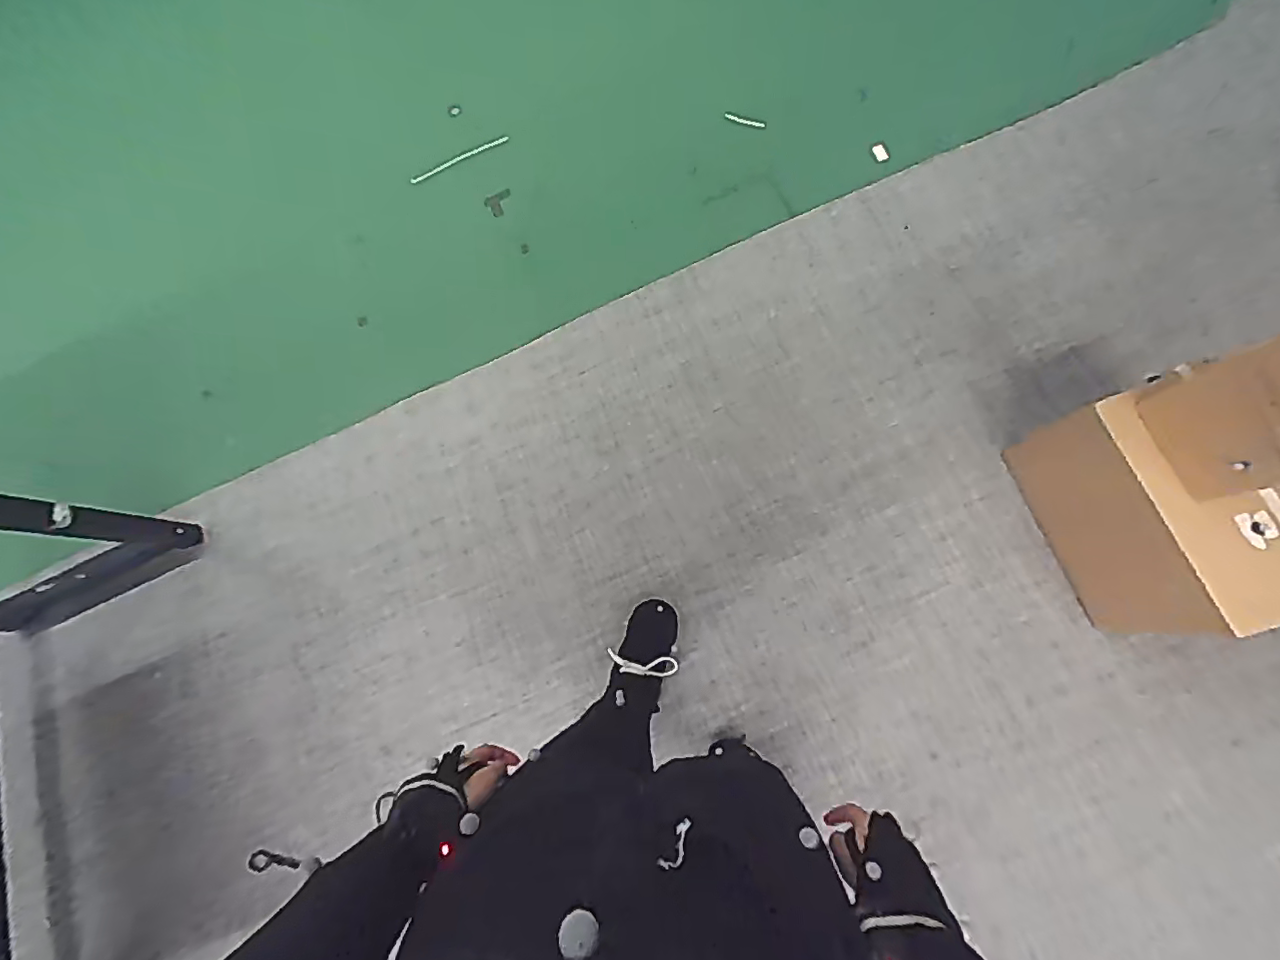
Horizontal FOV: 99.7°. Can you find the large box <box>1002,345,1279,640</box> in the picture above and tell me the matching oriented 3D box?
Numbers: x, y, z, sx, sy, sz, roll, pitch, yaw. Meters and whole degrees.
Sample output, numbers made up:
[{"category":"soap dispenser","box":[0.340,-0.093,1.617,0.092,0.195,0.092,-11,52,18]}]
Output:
[{"category":"large box","box":[0.979,0.038,0.991,0.320,0.320,0.408,-21,76,4]}]

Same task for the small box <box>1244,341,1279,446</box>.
[{"category":"small box","box":[0.877,-0.122,0.621,0.179,0.176,0.168,-18,77,2]}]
